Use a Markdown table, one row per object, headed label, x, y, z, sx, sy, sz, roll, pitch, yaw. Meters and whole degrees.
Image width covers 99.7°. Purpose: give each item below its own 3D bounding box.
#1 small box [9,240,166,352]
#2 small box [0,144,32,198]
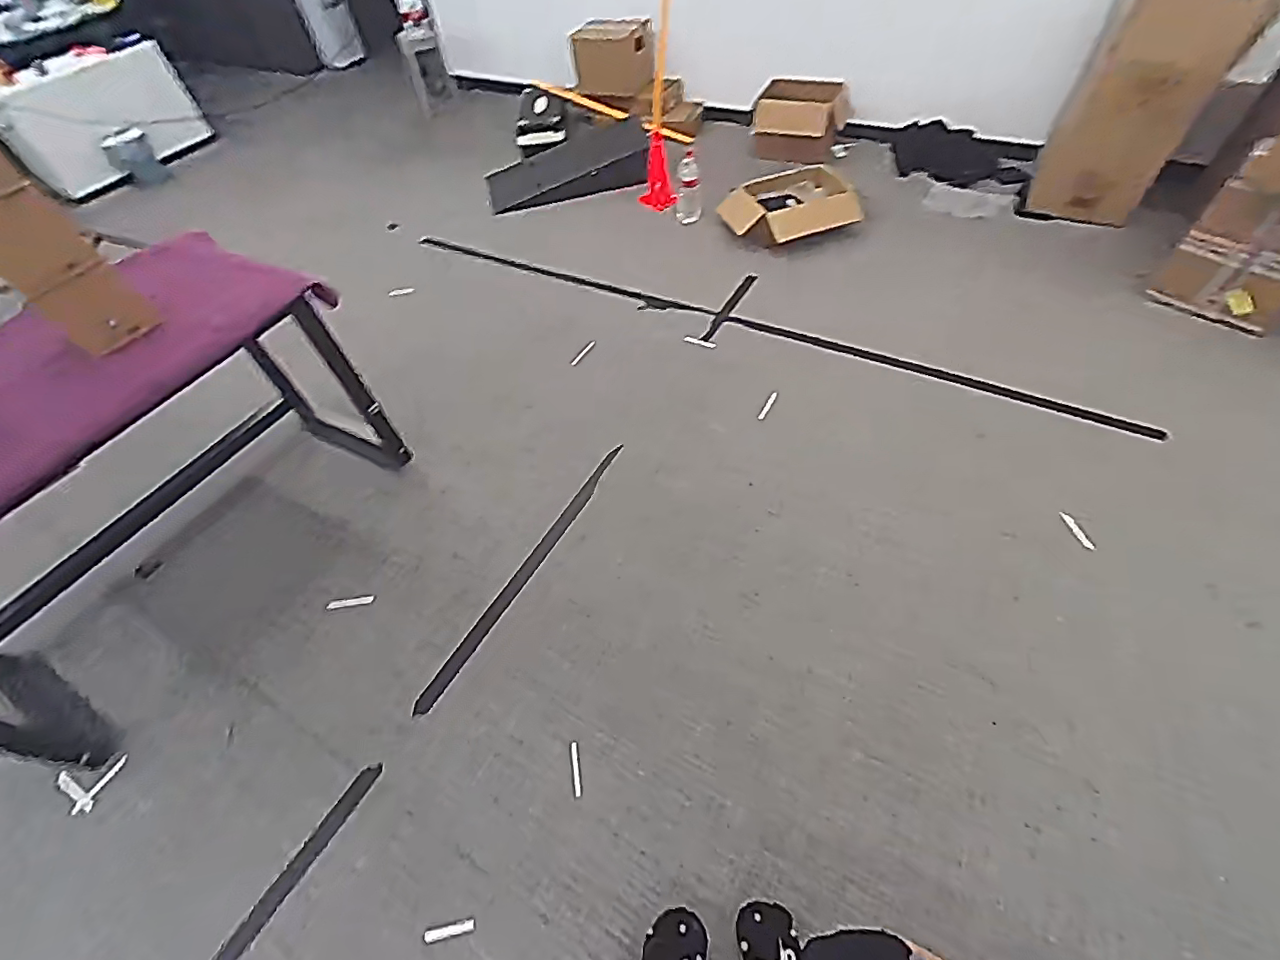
| label | x | y | z | sx | sy | sz | roll | pitch | yaw |
| --- | --- | --- | --- | --- | --- | --- | --- | --- | --- |
| small box | -1.287 | -0.427 | 1.269 | 0.179 | 0.176 | 0.168 | 28 | 62 | 24 |
| small box | -1.311 | -0.617 | 1.004 | 0.179 | 0.176 | 0.168 | 29 | 60 | 26 |
